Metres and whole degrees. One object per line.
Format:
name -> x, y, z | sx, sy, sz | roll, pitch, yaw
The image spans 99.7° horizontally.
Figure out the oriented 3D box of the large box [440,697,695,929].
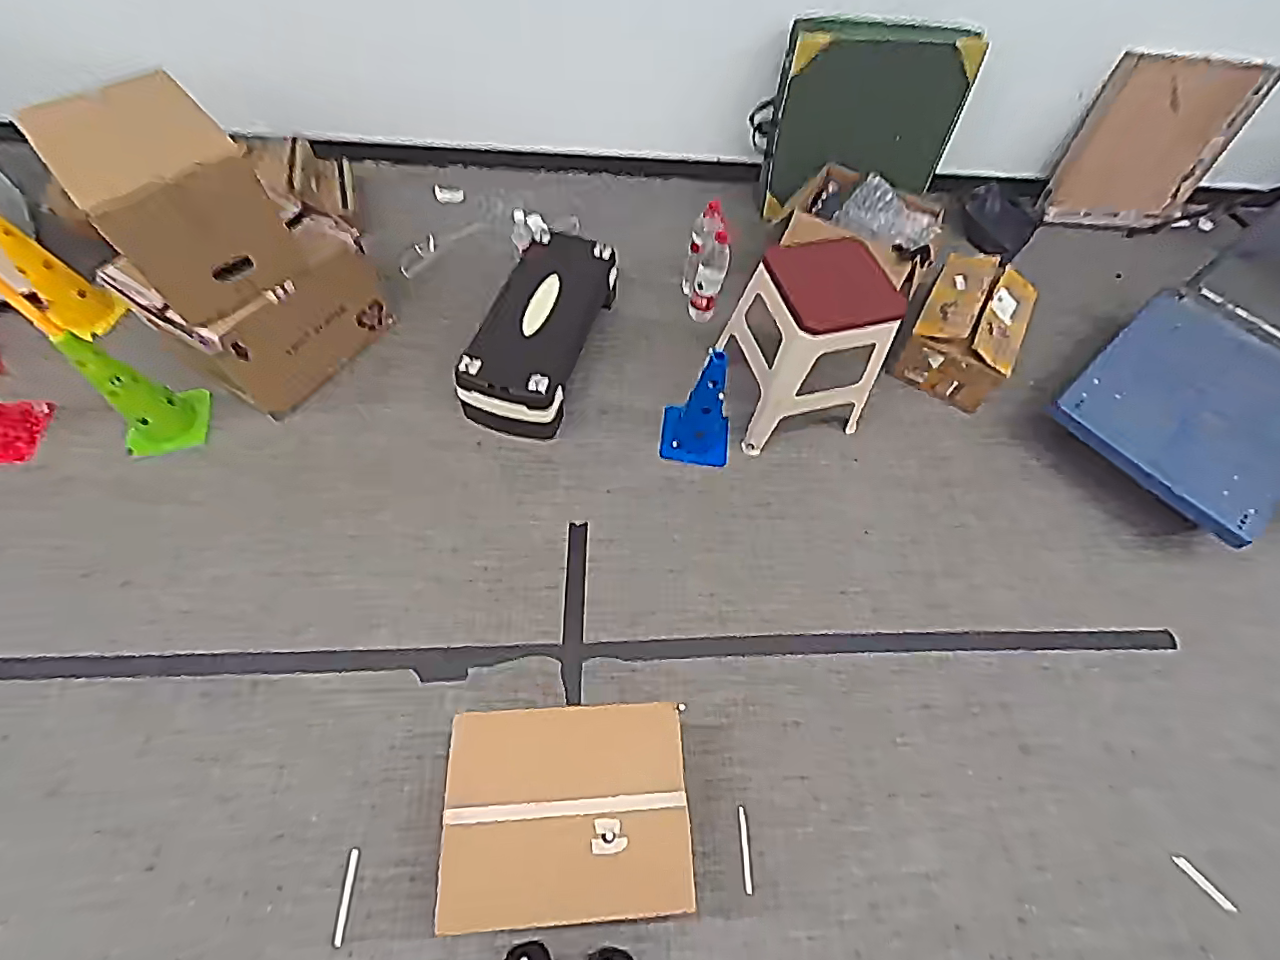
large box -> -0.134, 0.612, 1.037 | 0.408, 0.320, 0.320 | 0, 62, -7
